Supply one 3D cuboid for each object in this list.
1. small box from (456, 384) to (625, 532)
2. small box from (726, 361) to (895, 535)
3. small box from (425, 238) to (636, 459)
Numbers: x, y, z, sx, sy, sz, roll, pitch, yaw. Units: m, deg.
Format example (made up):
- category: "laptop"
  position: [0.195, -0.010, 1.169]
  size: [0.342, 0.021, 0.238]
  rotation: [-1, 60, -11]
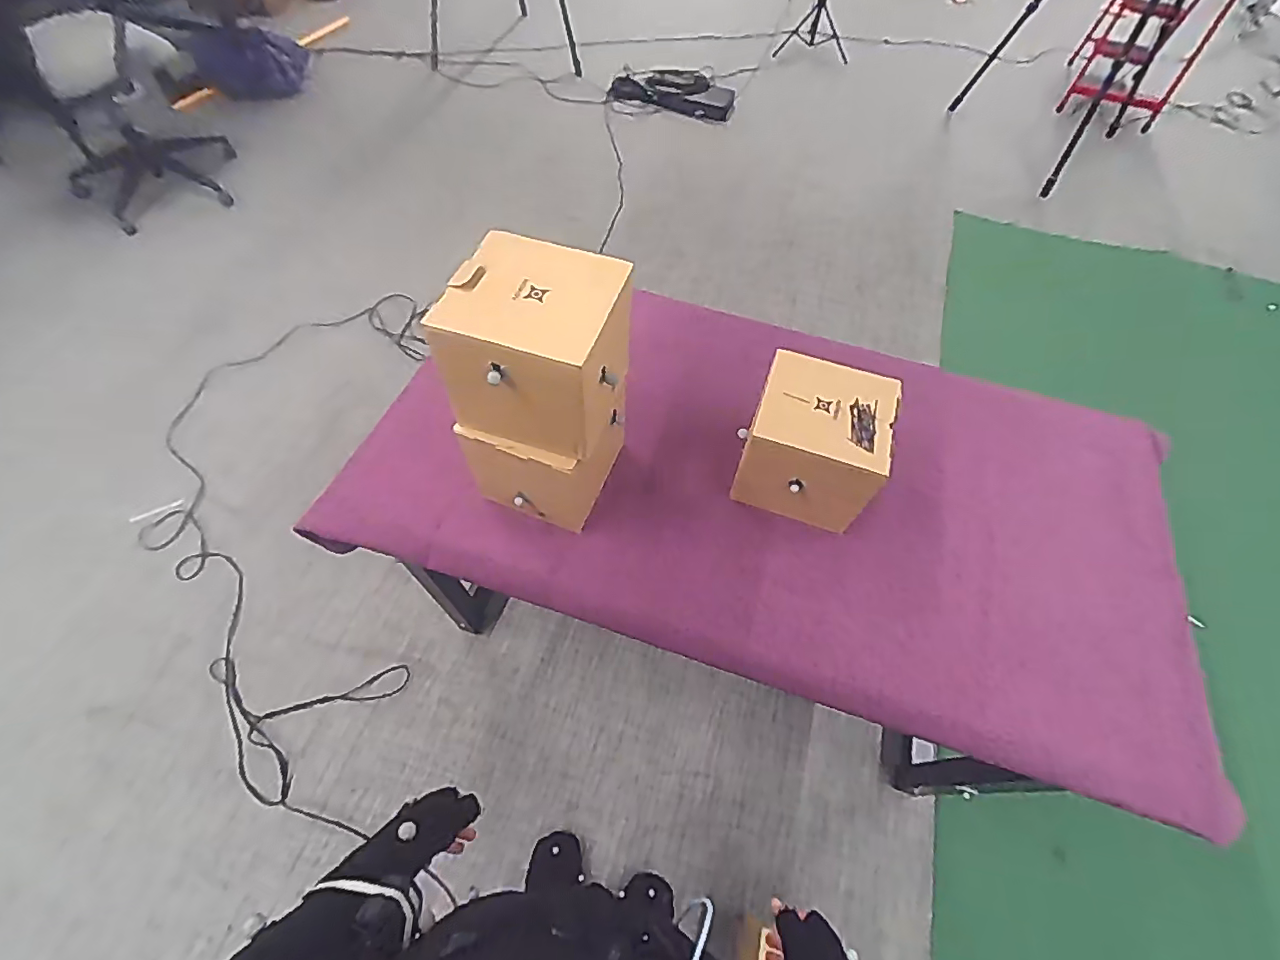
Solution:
- category: "small box"
  position: [-0.132, -0.055, 0.774]
  size: [0.168, 0.176, 0.179]
  rotation: [21, 60, 8]
- category: "small box"
  position: [0.242, -0.039, 0.791]
  size: [0.179, 0.176, 0.168]
  rotation: [19, 60, 8]
- category: "small box"
  position: [-0.115, -0.147, 0.641]
  size: [0.179, 0.176, 0.168]
  rotation: [17, 59, 7]
